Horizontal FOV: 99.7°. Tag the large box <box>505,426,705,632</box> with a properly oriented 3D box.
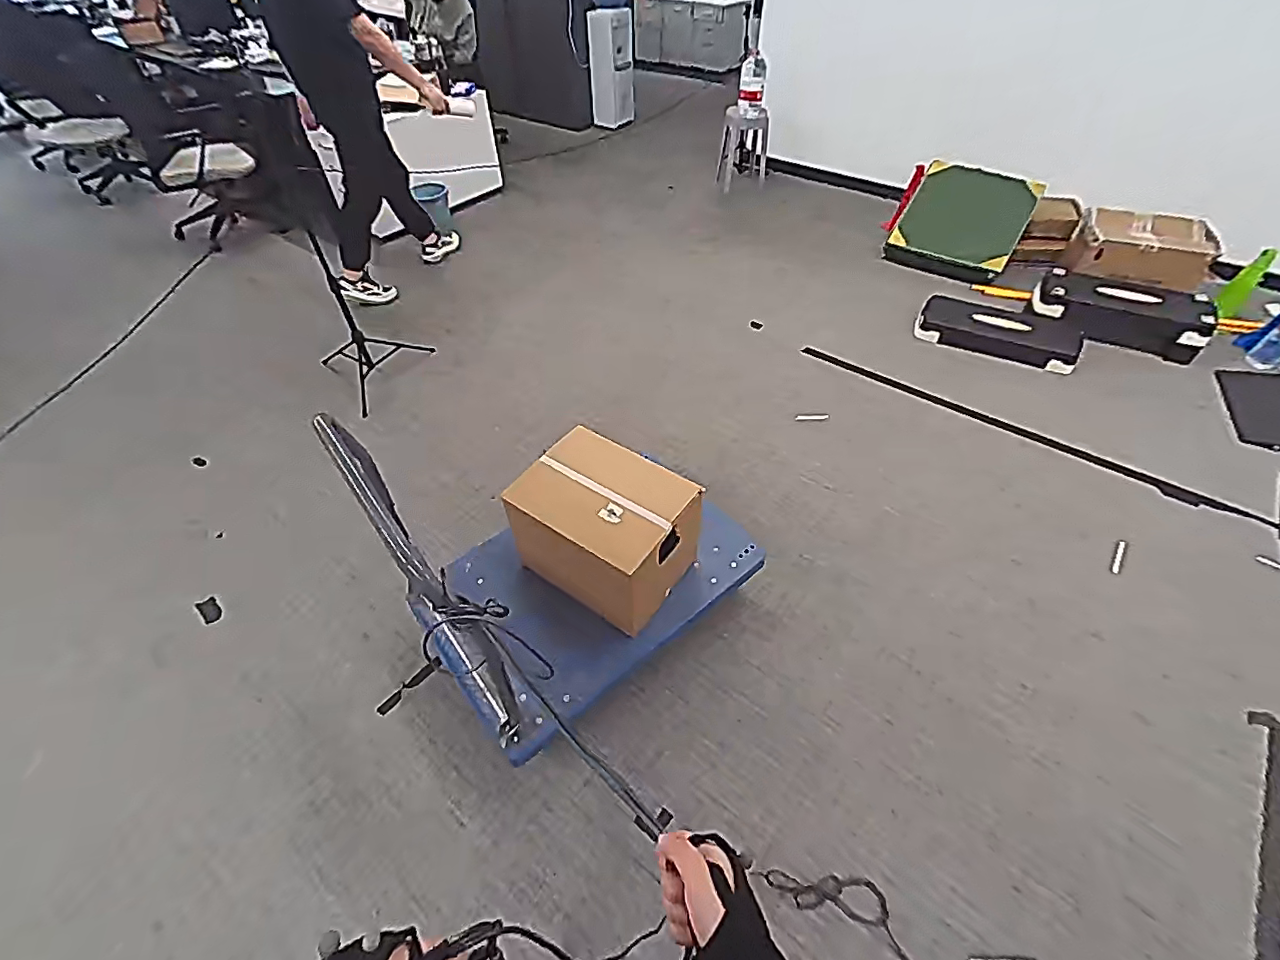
[{"bbox_3d":[-0.088,0.125,1.440,0.408,0.320,0.320,28,56,22],"label":"large box"}]
